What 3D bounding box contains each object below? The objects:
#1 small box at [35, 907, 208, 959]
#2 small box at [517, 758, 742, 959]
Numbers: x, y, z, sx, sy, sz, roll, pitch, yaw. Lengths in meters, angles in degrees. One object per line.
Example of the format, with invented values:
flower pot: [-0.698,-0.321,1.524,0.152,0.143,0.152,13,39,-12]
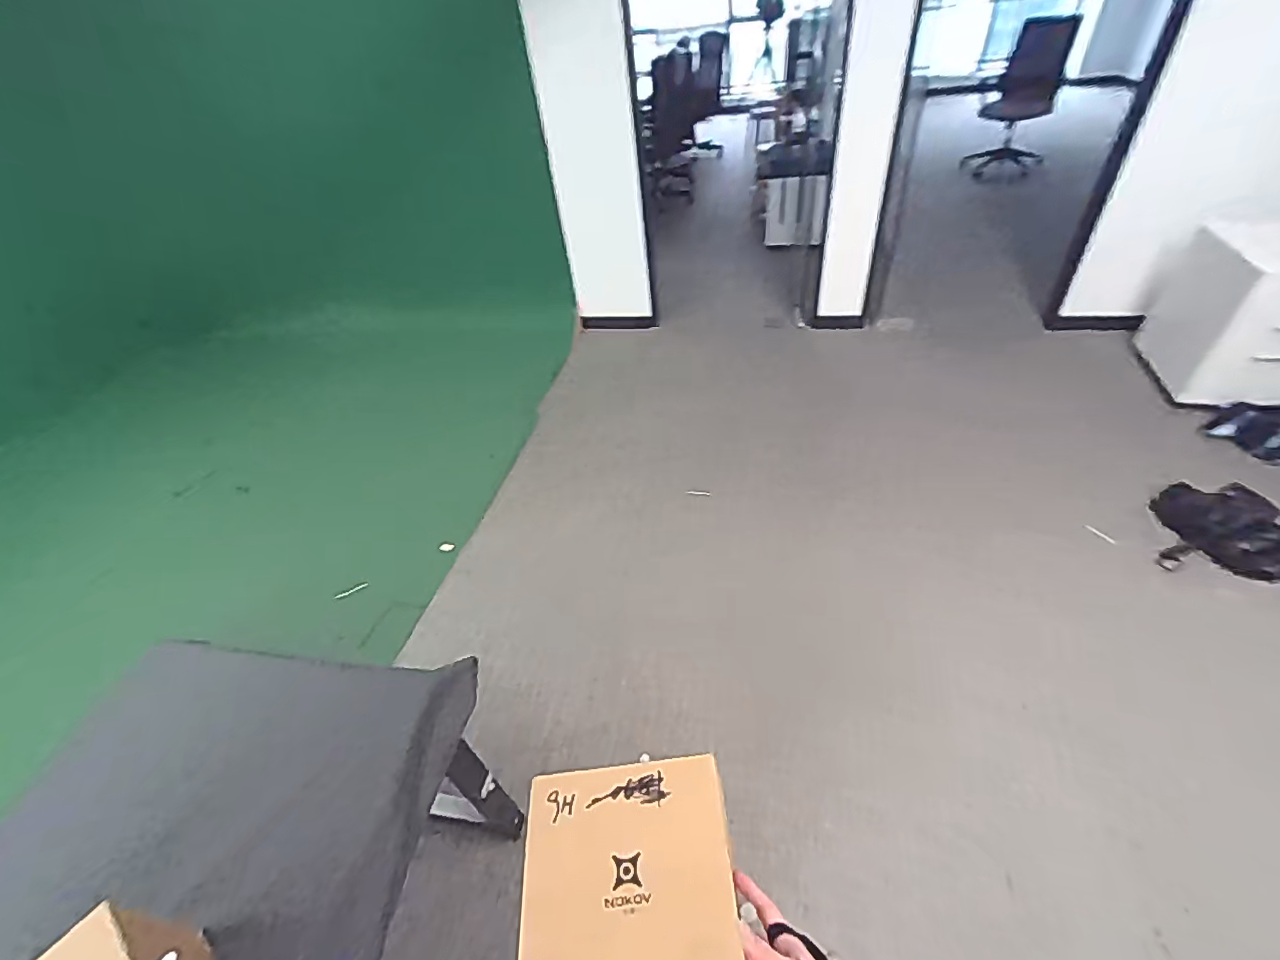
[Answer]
small box: [-0.564,0.599,0.557,0.179,0.176,0.168,22,49,31]
small box: [-0.001,0.367,0.470,0.168,0.176,0.179,-7,45,2]
